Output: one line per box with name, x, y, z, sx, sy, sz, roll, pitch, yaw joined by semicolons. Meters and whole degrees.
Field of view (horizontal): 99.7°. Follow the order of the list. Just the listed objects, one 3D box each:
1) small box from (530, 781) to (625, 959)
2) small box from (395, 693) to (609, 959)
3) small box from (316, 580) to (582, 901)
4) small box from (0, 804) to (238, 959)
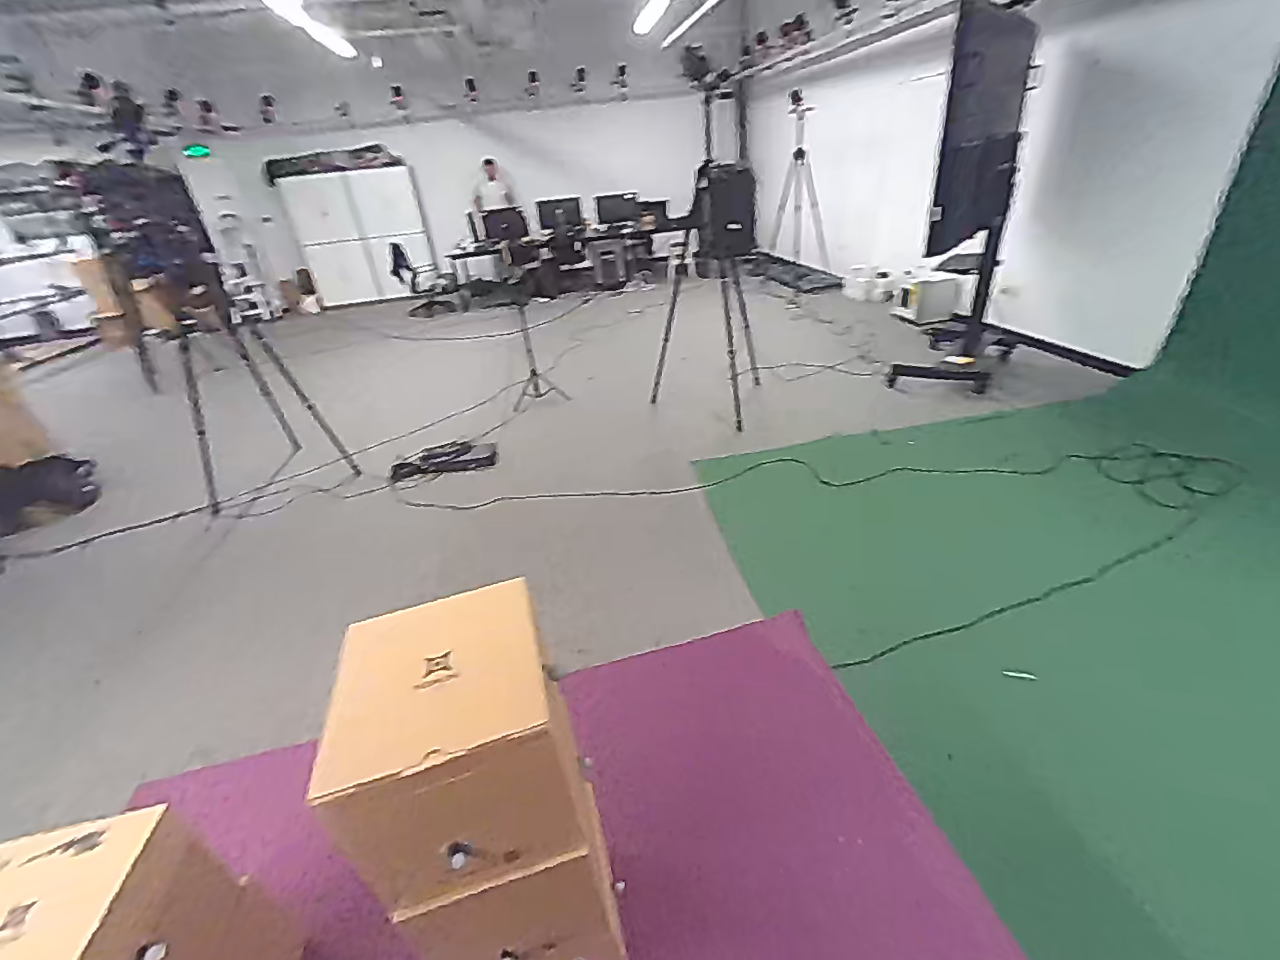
small box;-0.118;0.507;0.650;0.179;0.176;0.168;-12;30;-9
small box;-0.136;0.366;0.569;0.168;0.176;0.179;-13;32;-9
small box;-0.158;0.225;0.491;0.168;0.176;0.179;-14;32;-11
small box;-0.524;0.450;0.503;0.168;0.176;0.179;-10;31;-8
